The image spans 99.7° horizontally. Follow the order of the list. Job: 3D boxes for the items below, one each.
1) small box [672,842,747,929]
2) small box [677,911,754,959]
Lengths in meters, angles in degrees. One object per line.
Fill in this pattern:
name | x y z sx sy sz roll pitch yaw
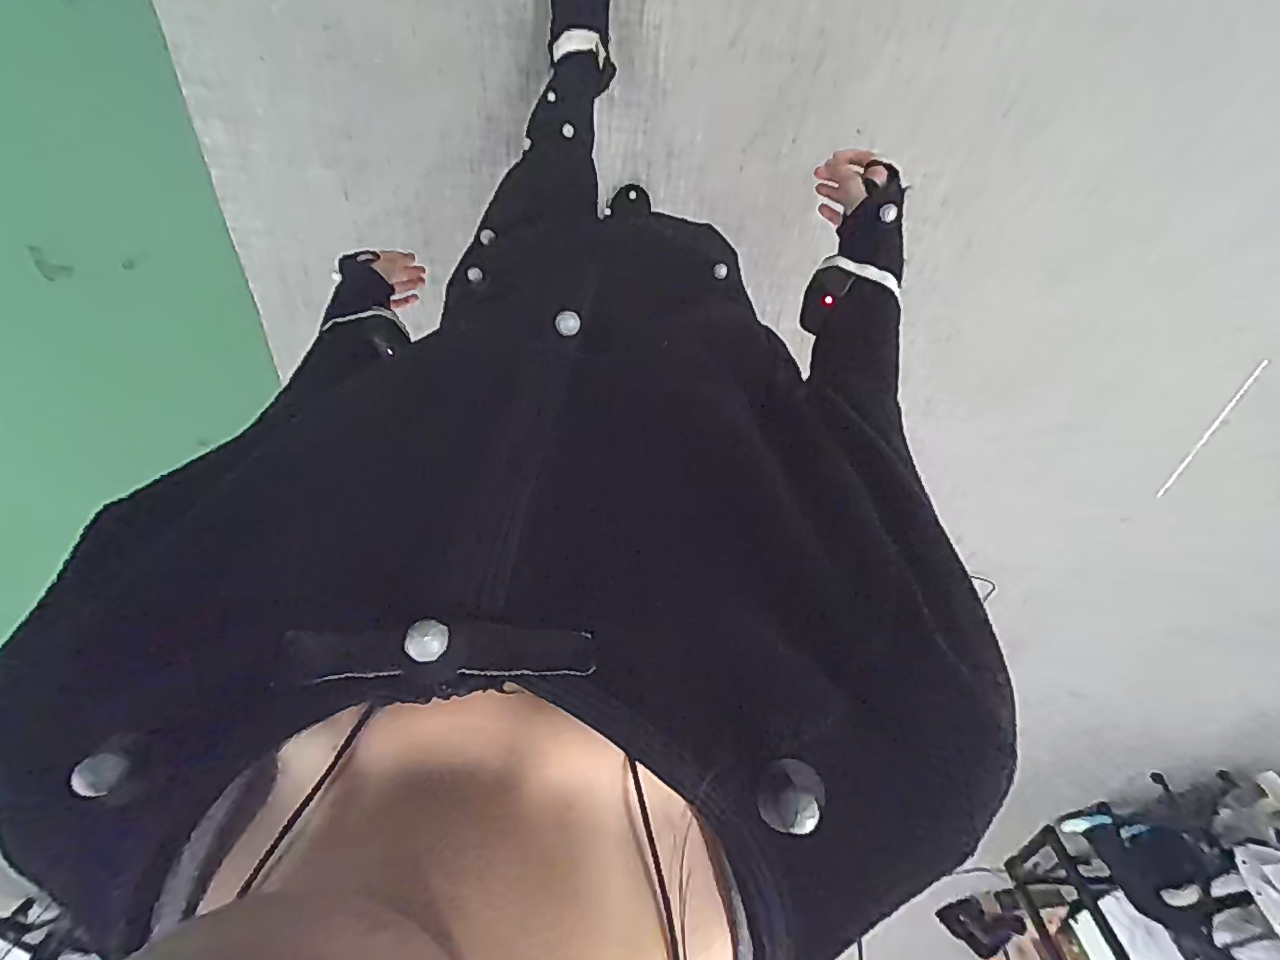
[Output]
small box | 0.192 1.173 1.566 0.179 0.176 0.168 4 126 -5
small box | 0.202 1.269 1.432 0.179 0.176 0.168 4 126 -6
